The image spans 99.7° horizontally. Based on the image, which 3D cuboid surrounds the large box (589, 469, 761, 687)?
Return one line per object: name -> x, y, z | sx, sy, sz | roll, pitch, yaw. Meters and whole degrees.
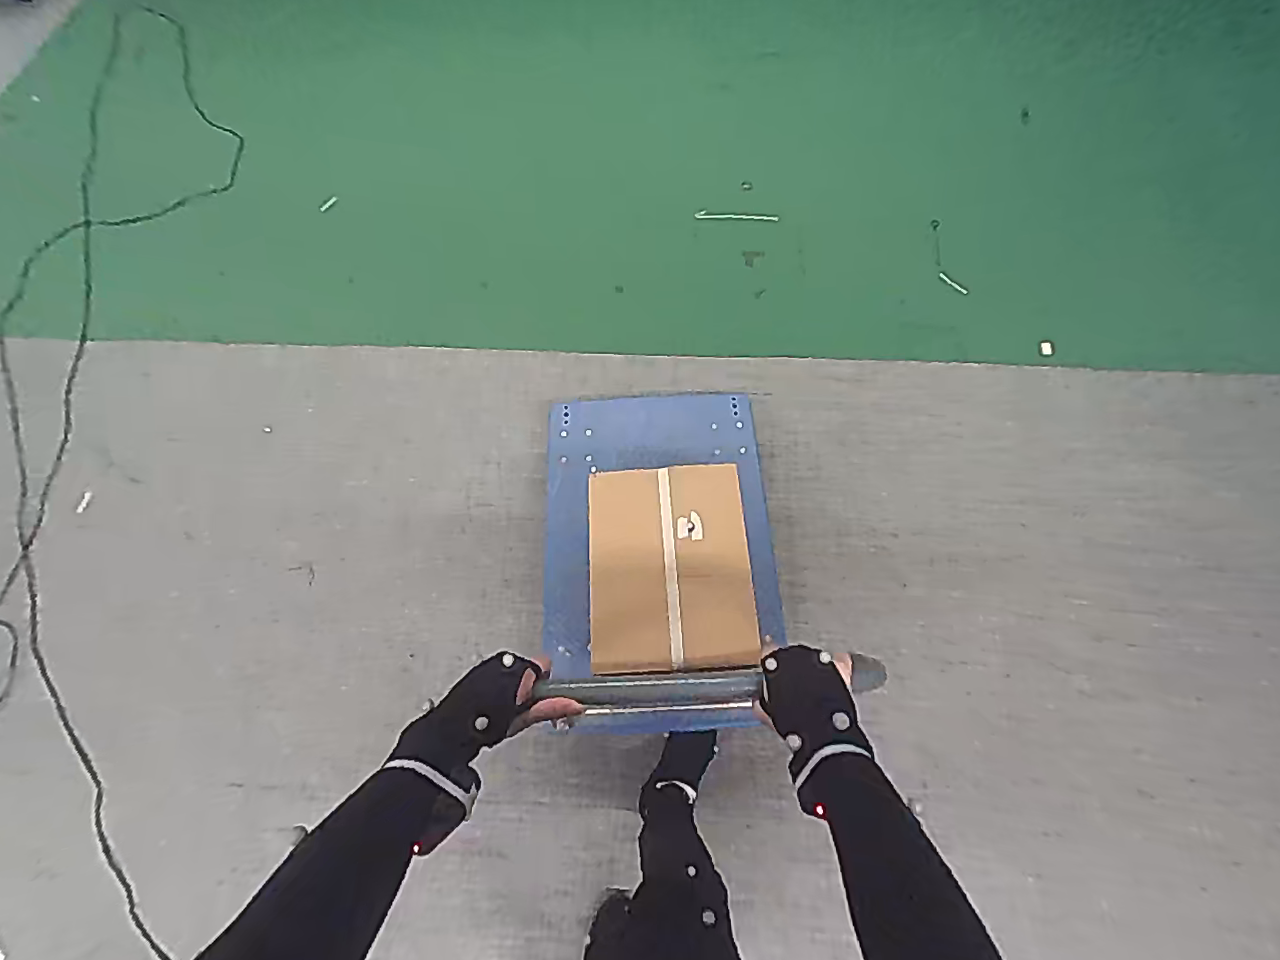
large box -> 0.065, 0.229, 1.204 | 0.320, 0.320, 0.408 | -4, 65, 1
